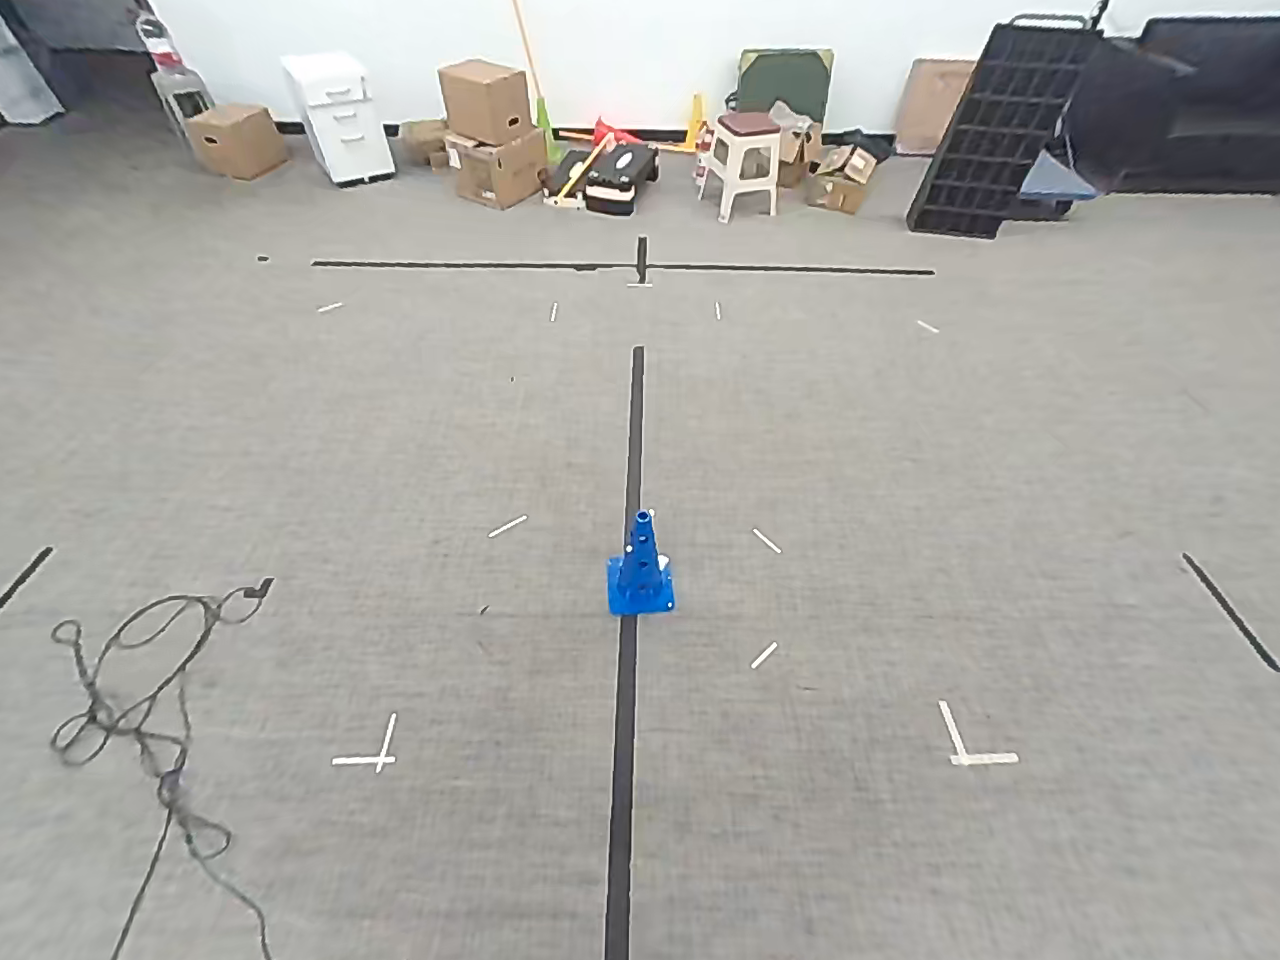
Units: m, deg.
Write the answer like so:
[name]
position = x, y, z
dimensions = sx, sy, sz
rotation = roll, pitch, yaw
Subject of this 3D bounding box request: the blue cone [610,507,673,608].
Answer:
[blue cone]
position = 0.009, 0.204, 1.549
dimensions = 0.192, 0.380, 0.193
rotation = 0, 50, -3
